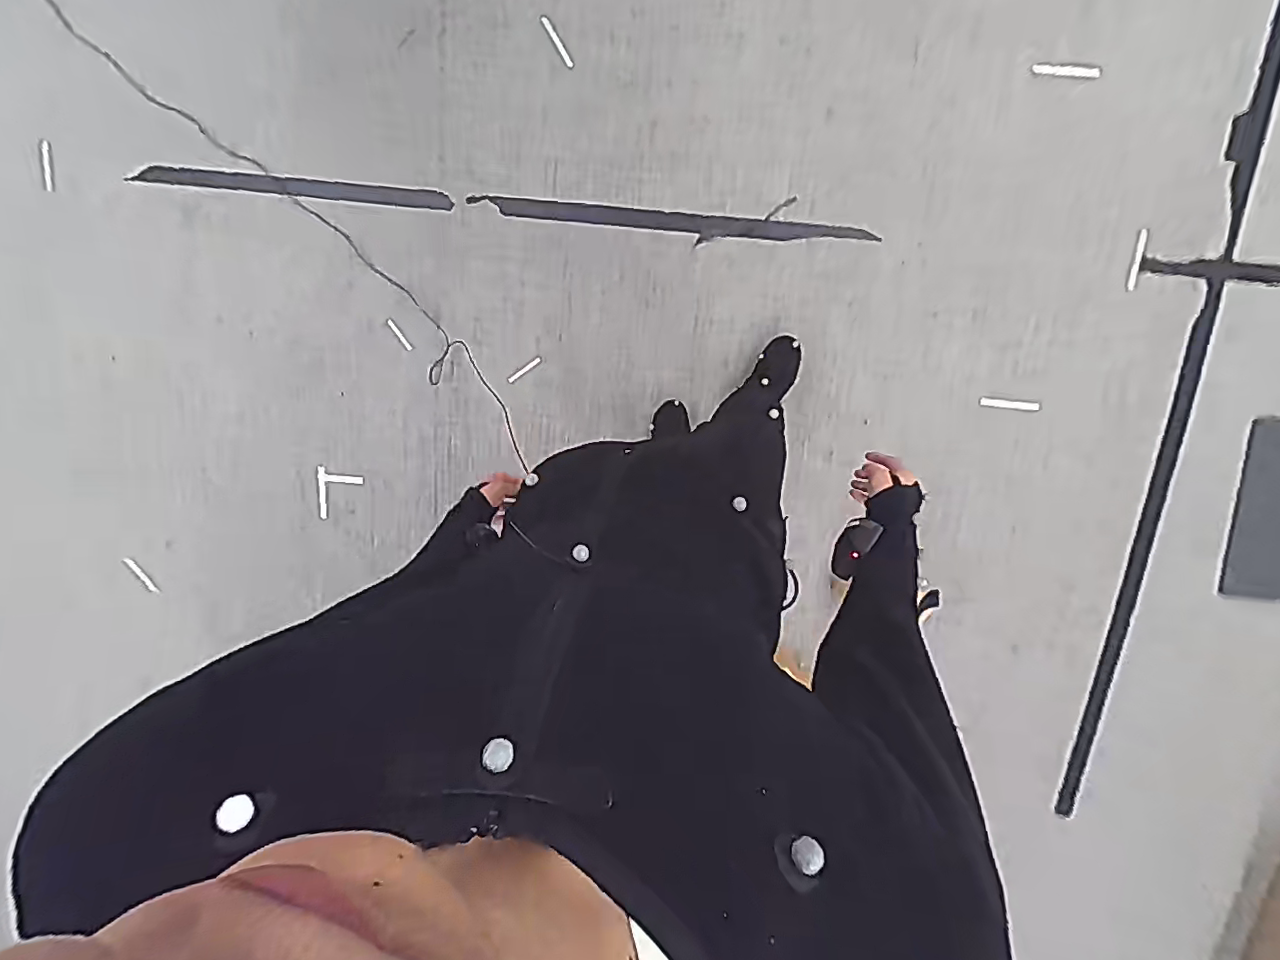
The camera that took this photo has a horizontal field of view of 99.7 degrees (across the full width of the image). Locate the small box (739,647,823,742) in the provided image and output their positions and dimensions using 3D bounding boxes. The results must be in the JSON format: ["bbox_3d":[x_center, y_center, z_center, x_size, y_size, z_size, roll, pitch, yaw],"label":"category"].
[{"bbox_3d":[0.408,0.622,1.600,0.168,0.176,0.179,-39,92,13],"label":"small box"}]

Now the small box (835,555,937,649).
[{"bbox_3d":[0.676,0.330,1.512,0.179,0.176,0.168,35,103,-1],"label":"small box"}]
